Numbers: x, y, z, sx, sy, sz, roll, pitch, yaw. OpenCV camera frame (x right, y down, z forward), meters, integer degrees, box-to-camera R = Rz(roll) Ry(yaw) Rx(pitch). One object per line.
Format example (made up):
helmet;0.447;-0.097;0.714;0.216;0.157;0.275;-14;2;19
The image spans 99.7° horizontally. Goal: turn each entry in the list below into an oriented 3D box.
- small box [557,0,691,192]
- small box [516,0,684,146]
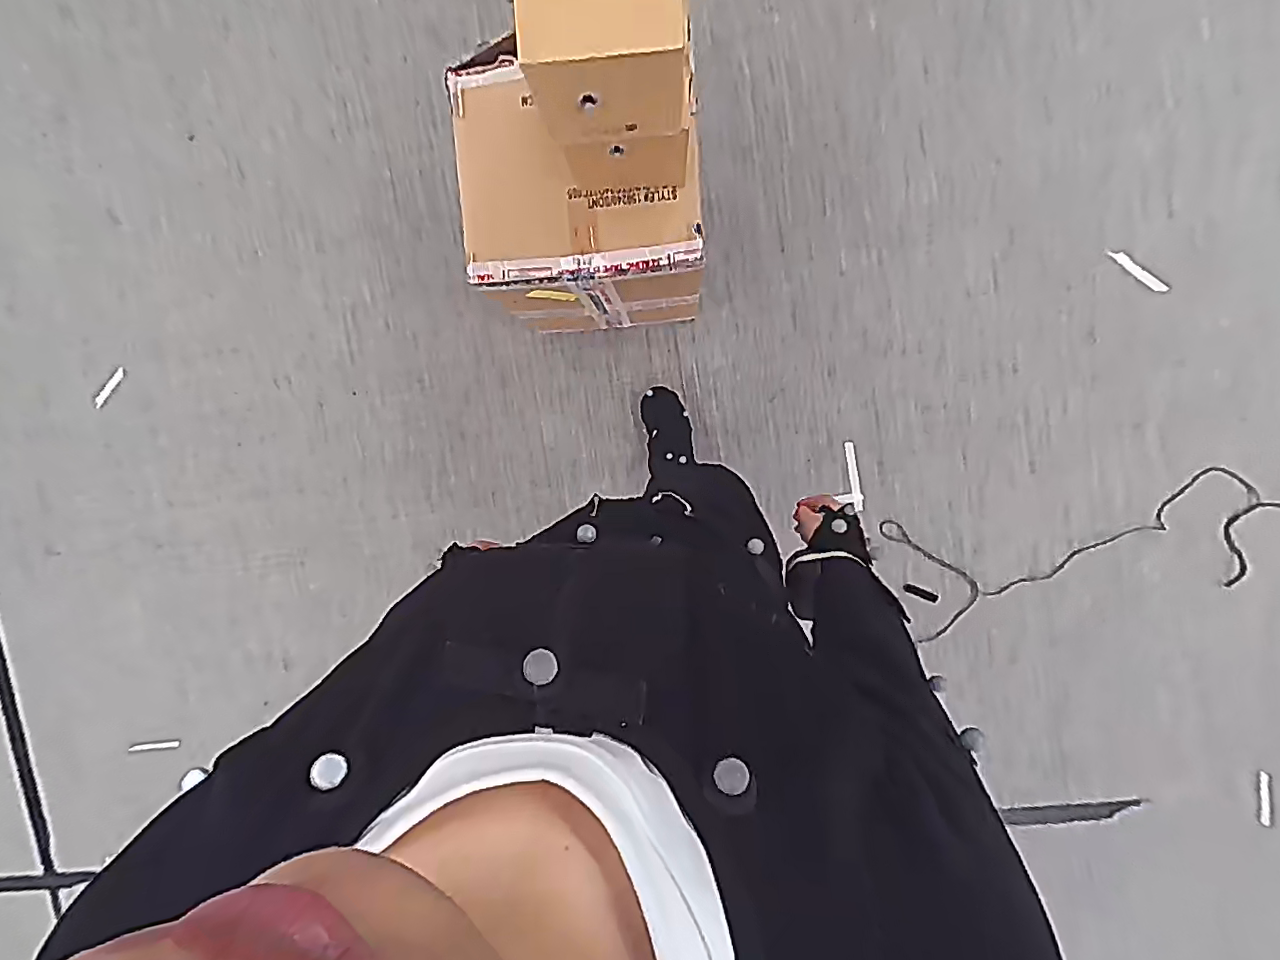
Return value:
small box;-0.018;-0.525;0.762;0.179;0.176;0.168;-1;97;3
small box;-0.036;-0.500;0.602;0.168;0.176;0.179;-4;95;3
